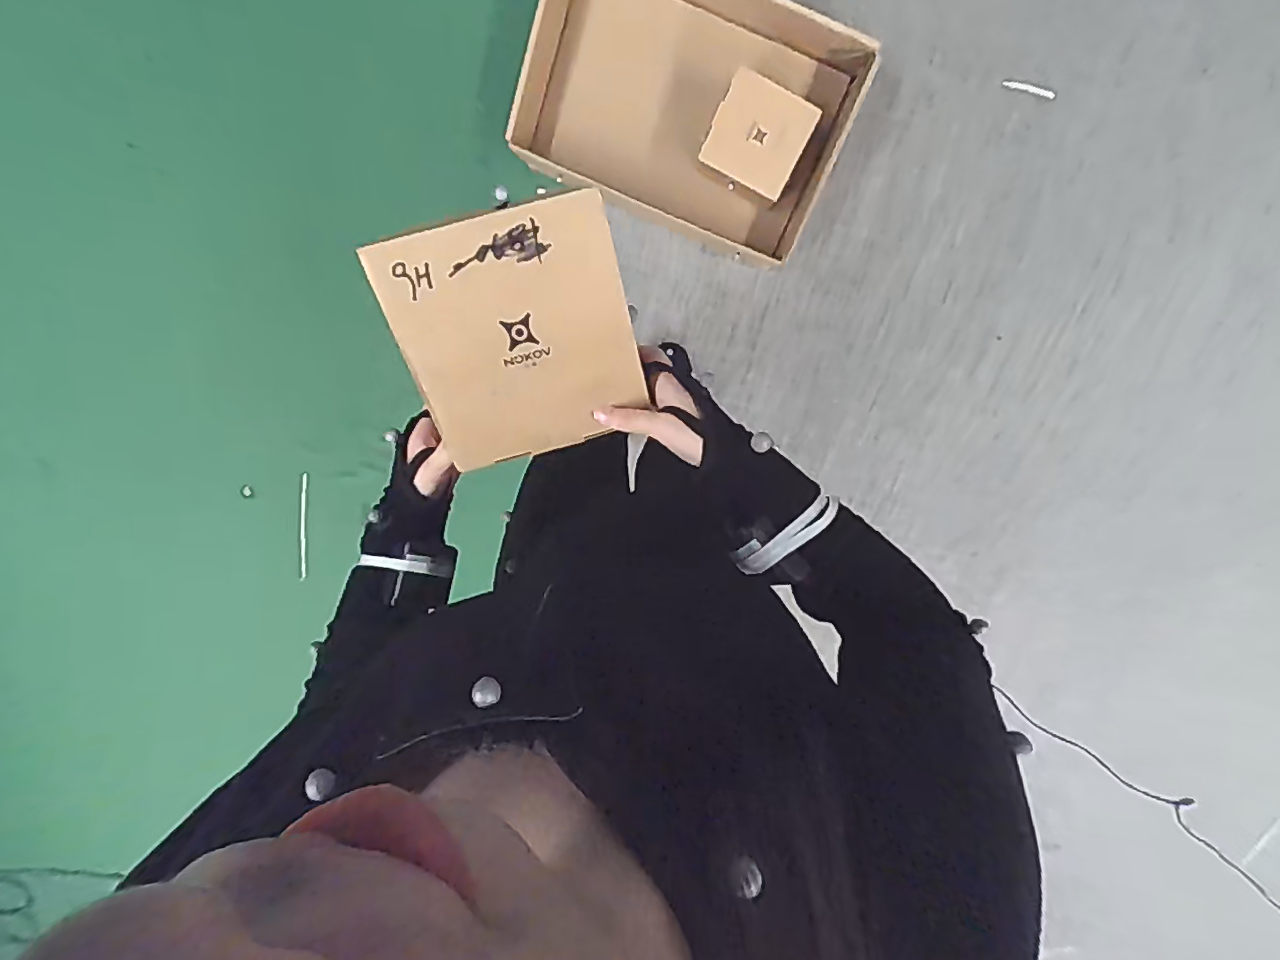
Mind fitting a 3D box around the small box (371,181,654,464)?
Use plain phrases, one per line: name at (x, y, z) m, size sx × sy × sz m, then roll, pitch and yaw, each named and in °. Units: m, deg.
small box at (-0.095, -0.143, 0.467) m, size 0.168 × 0.176 × 0.179 m, roll -16°, pitch 121°, yaw -2°
